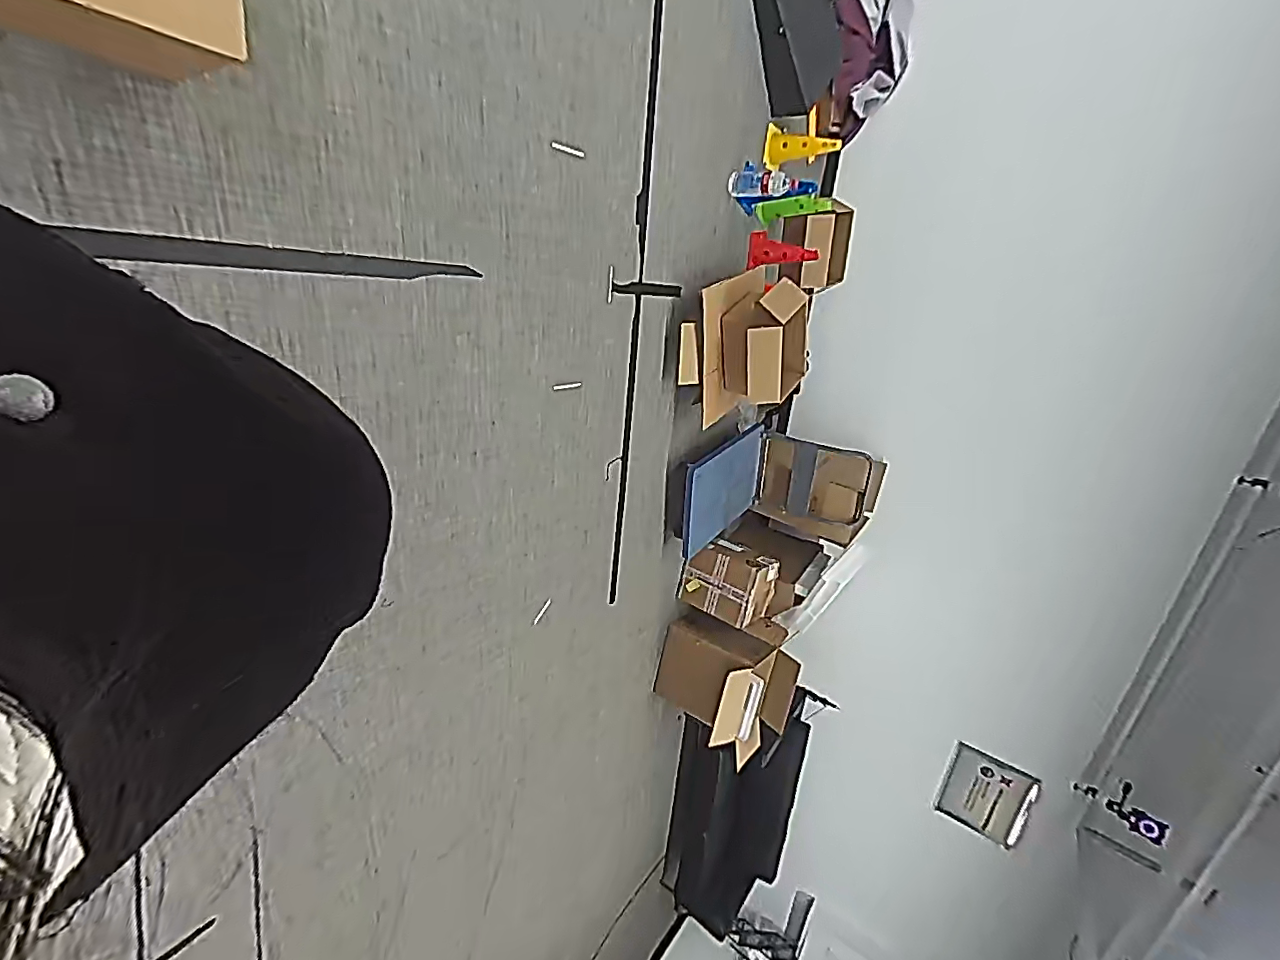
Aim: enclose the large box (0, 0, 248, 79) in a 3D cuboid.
[{"bbox_3d":[-0.856,-0.822,0.749,0.408,0.320,0.320,-19,122,-53],"label":"large box"}]
